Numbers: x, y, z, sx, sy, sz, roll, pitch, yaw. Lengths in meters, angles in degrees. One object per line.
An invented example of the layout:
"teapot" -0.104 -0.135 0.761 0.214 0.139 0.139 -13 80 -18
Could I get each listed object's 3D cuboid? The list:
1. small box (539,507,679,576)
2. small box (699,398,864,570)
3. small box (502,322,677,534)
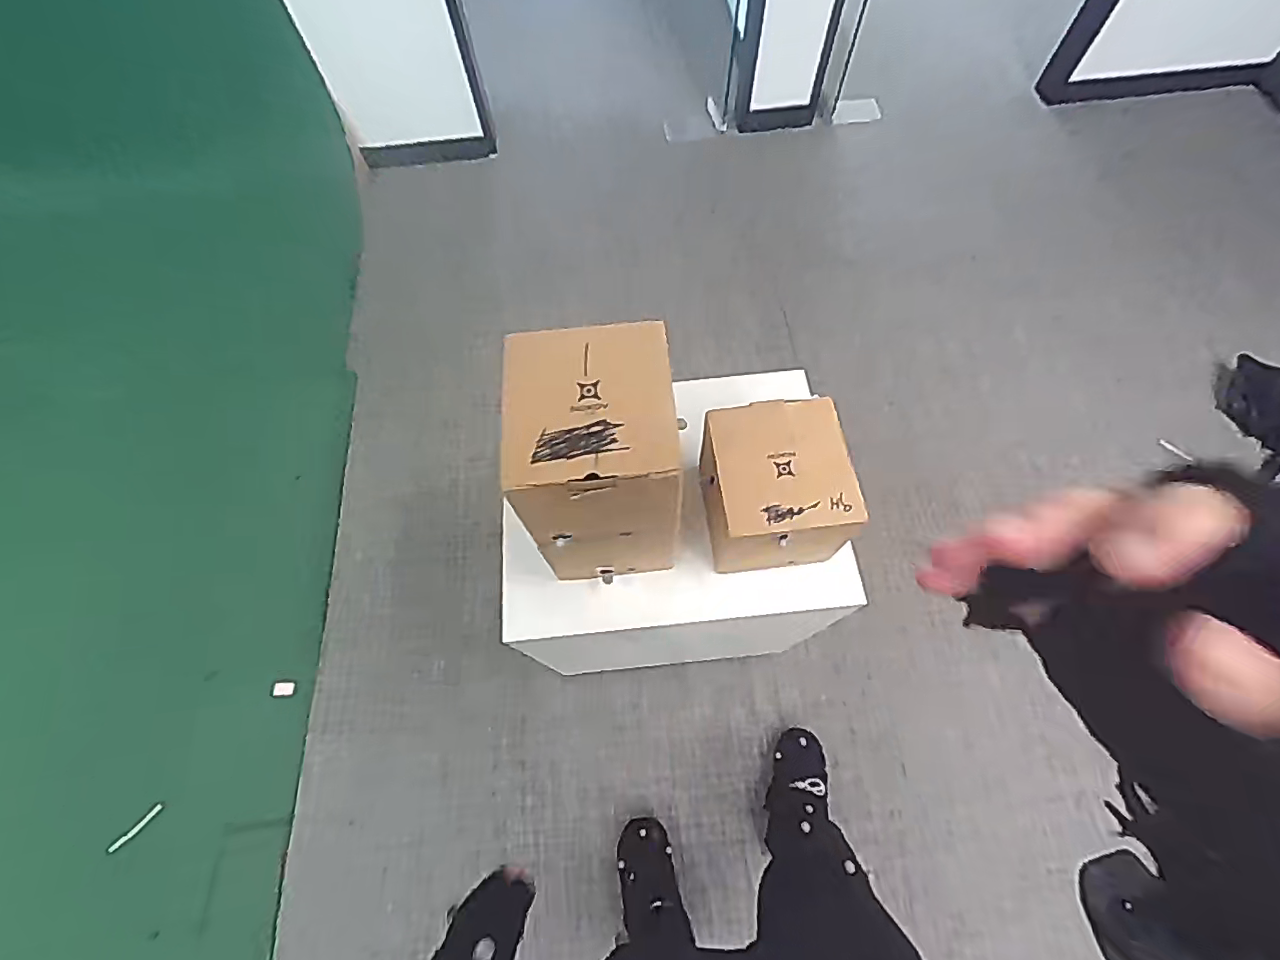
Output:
"small box" -0.043 0.017 0.733 0.168 0.176 0.179 -7 67 -1
"small box" 0.177 0.010 0.743 0.168 0.176 0.179 -6 64 -1
"small box" -0.047 -0.046 0.599 0.168 0.176 0.179 -5 64 0
